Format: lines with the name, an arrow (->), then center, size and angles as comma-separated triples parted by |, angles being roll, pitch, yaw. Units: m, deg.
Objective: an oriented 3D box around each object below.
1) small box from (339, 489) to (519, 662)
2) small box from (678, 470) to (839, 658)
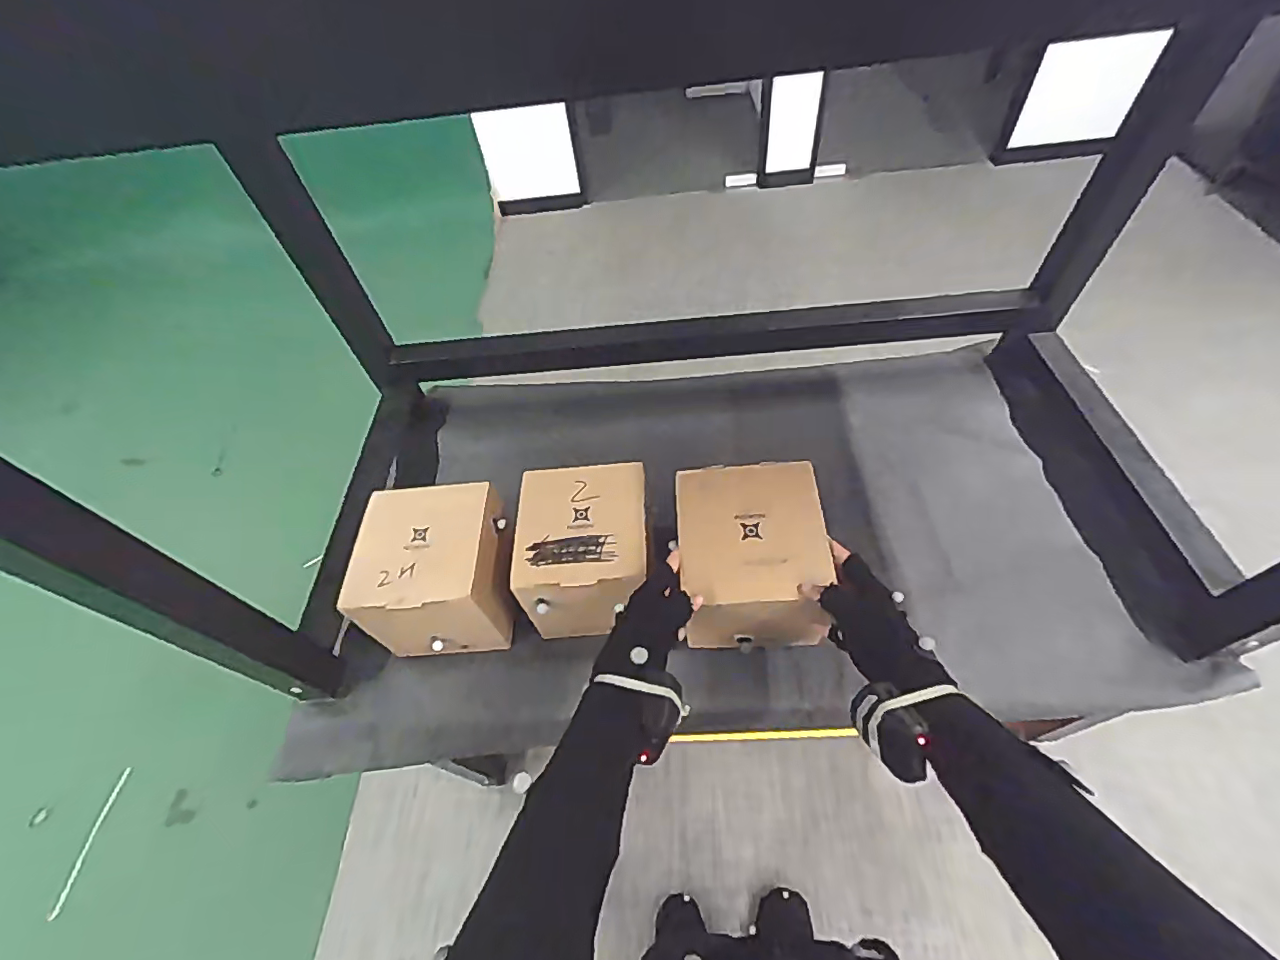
small box -> -0.272, 0.135, 0.748 | 0.168, 0.176, 0.179 | -5, 52, 3
small box -> 0.135, 0.109, 0.677 | 0.168, 0.176, 0.179 | -5, 56, 6
